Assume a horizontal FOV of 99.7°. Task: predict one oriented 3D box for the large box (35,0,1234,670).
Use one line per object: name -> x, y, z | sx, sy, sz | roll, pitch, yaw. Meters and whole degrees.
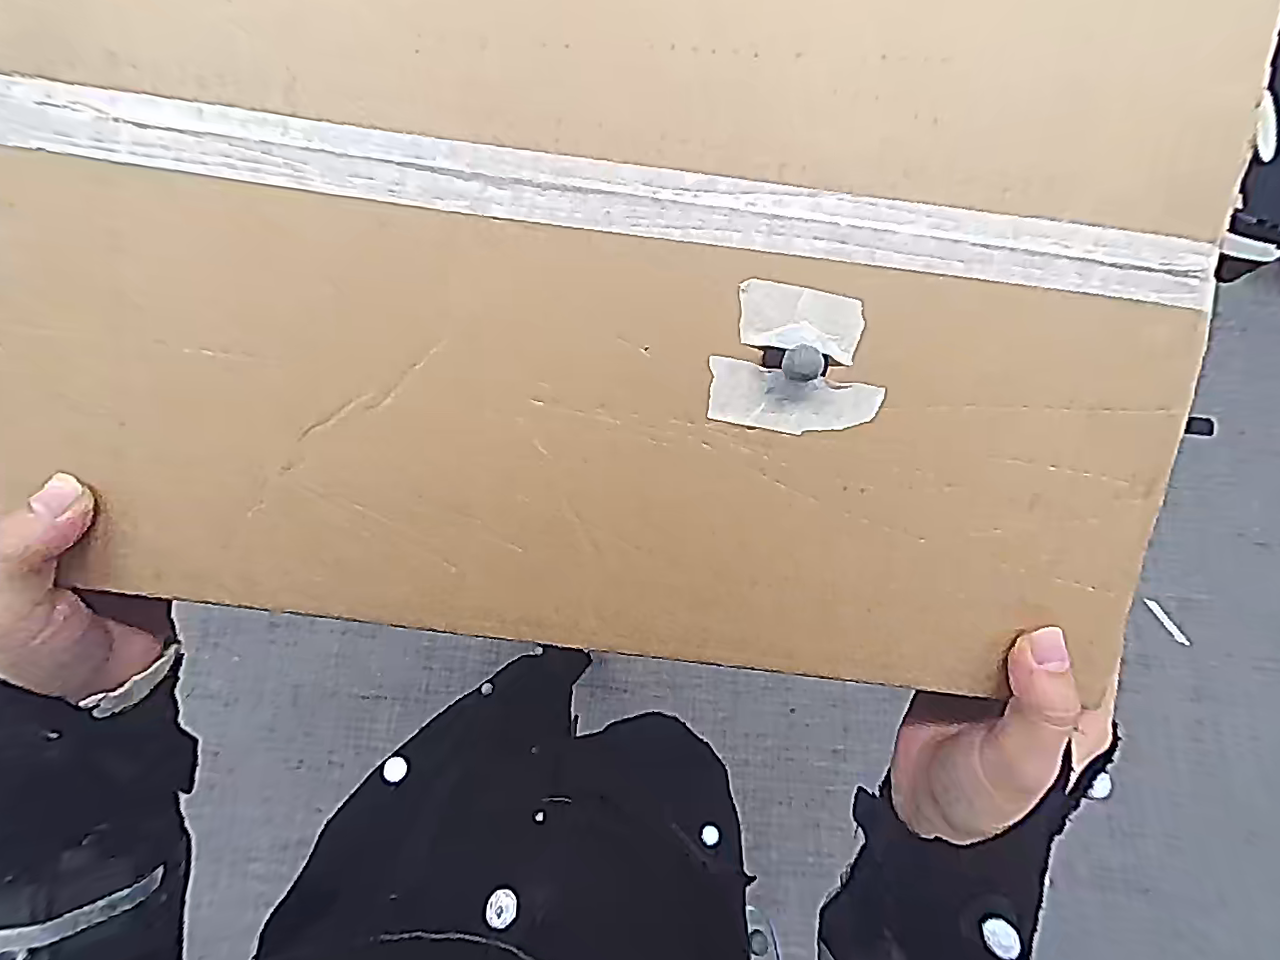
large box -> -0.010, -0.112, 0.339 | 0.408, 0.320, 0.320 | 7, 98, -2
